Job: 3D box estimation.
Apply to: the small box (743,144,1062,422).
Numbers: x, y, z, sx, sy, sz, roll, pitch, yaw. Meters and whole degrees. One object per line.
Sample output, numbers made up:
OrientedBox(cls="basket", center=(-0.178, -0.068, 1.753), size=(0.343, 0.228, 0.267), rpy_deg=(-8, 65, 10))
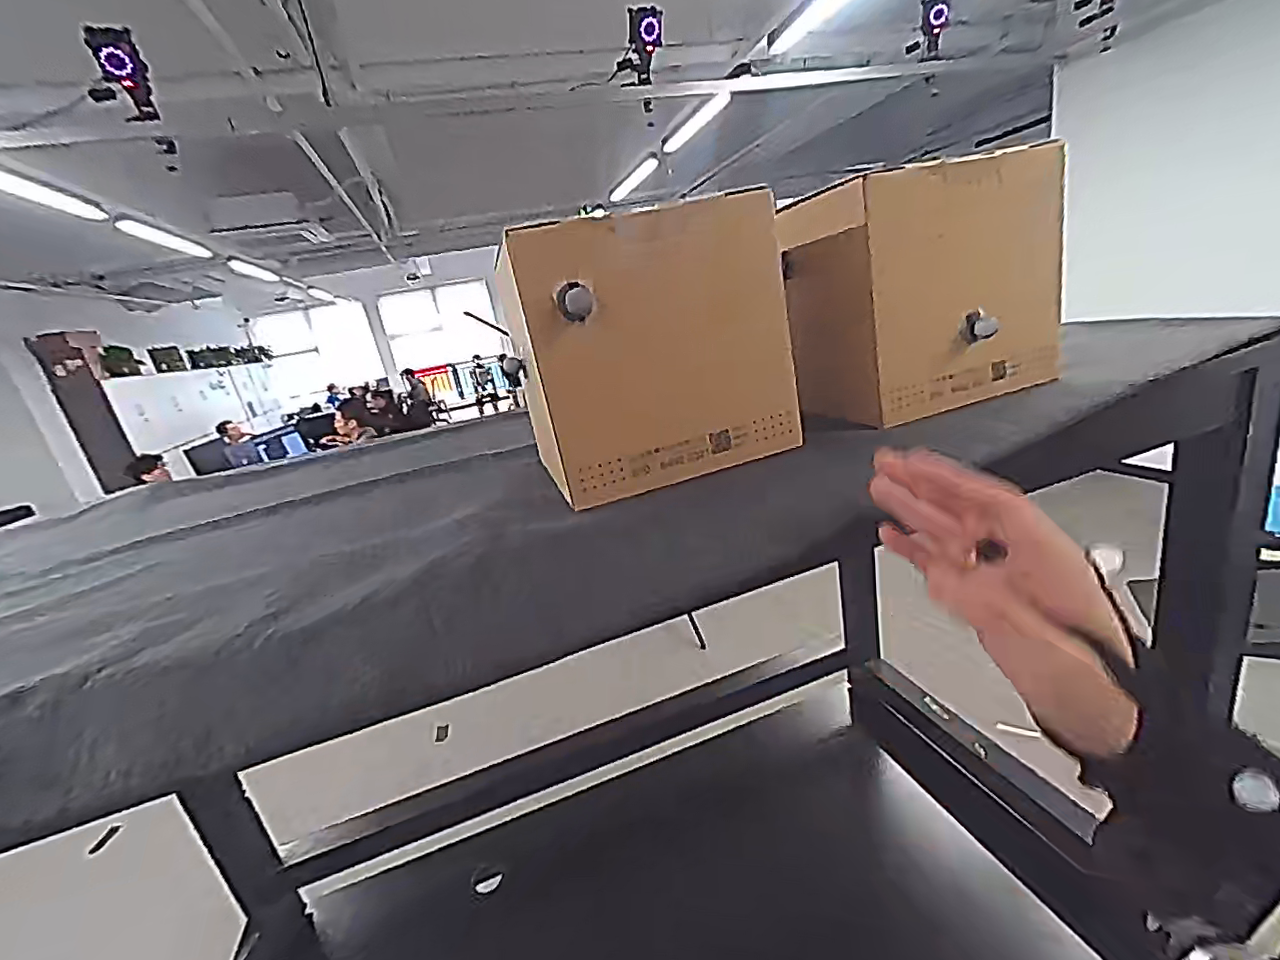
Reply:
OrientedBox(cls="small box", center=(0.206, -0.152, 0.455), size=(0.168, 0.176, 0.179), rpy_deg=(-16, 18, -13))
